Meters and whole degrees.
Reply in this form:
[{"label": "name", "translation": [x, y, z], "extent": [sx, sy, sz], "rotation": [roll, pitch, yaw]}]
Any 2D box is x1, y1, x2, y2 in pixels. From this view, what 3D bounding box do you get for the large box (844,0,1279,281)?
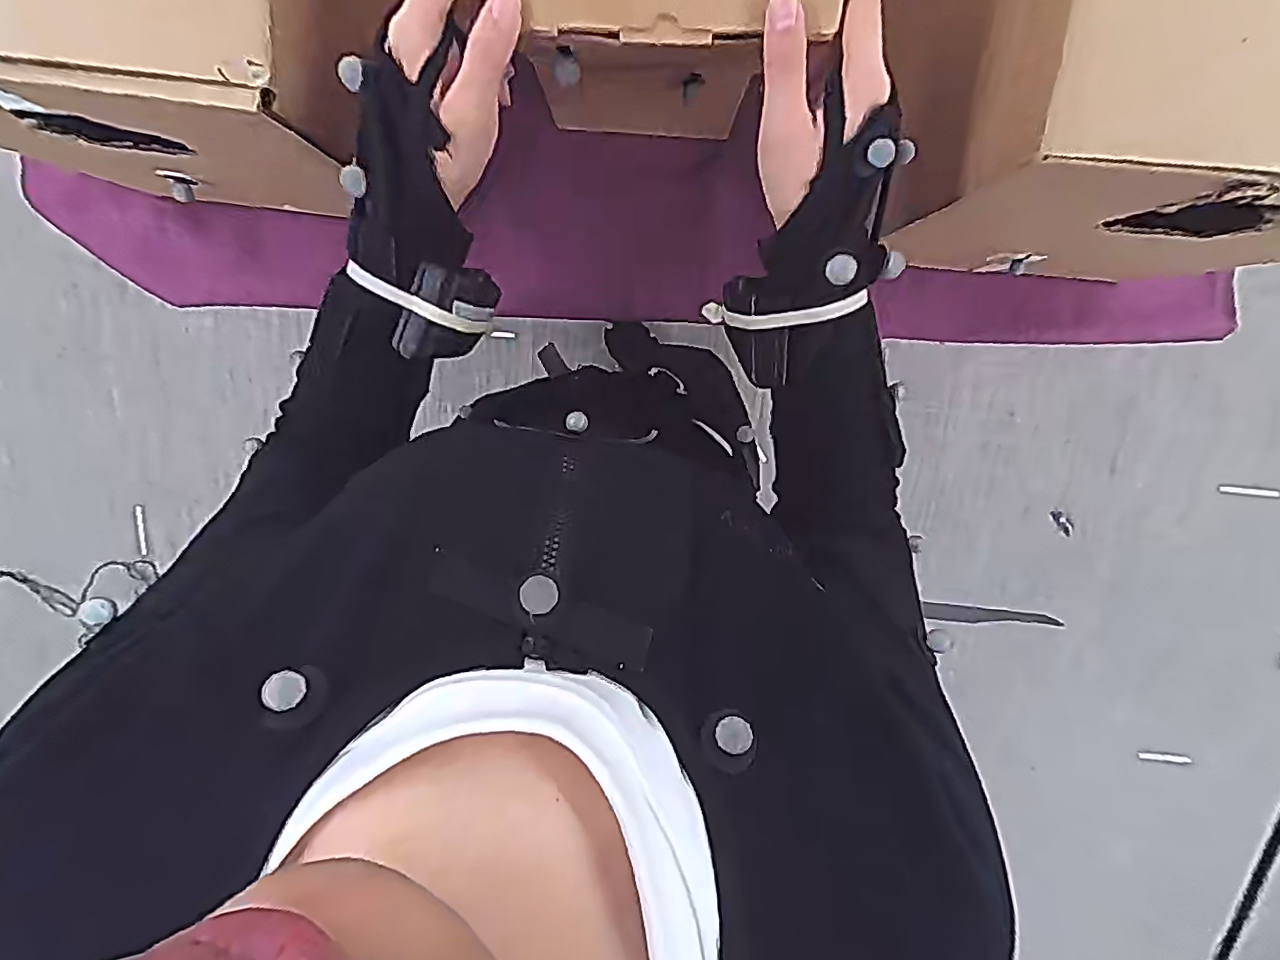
[{"label": "large box", "translation": [0.371, -0.378, 0.386], "extent": [0.320, 0.320, 0.408], "rotation": [5, 103, -1]}]
